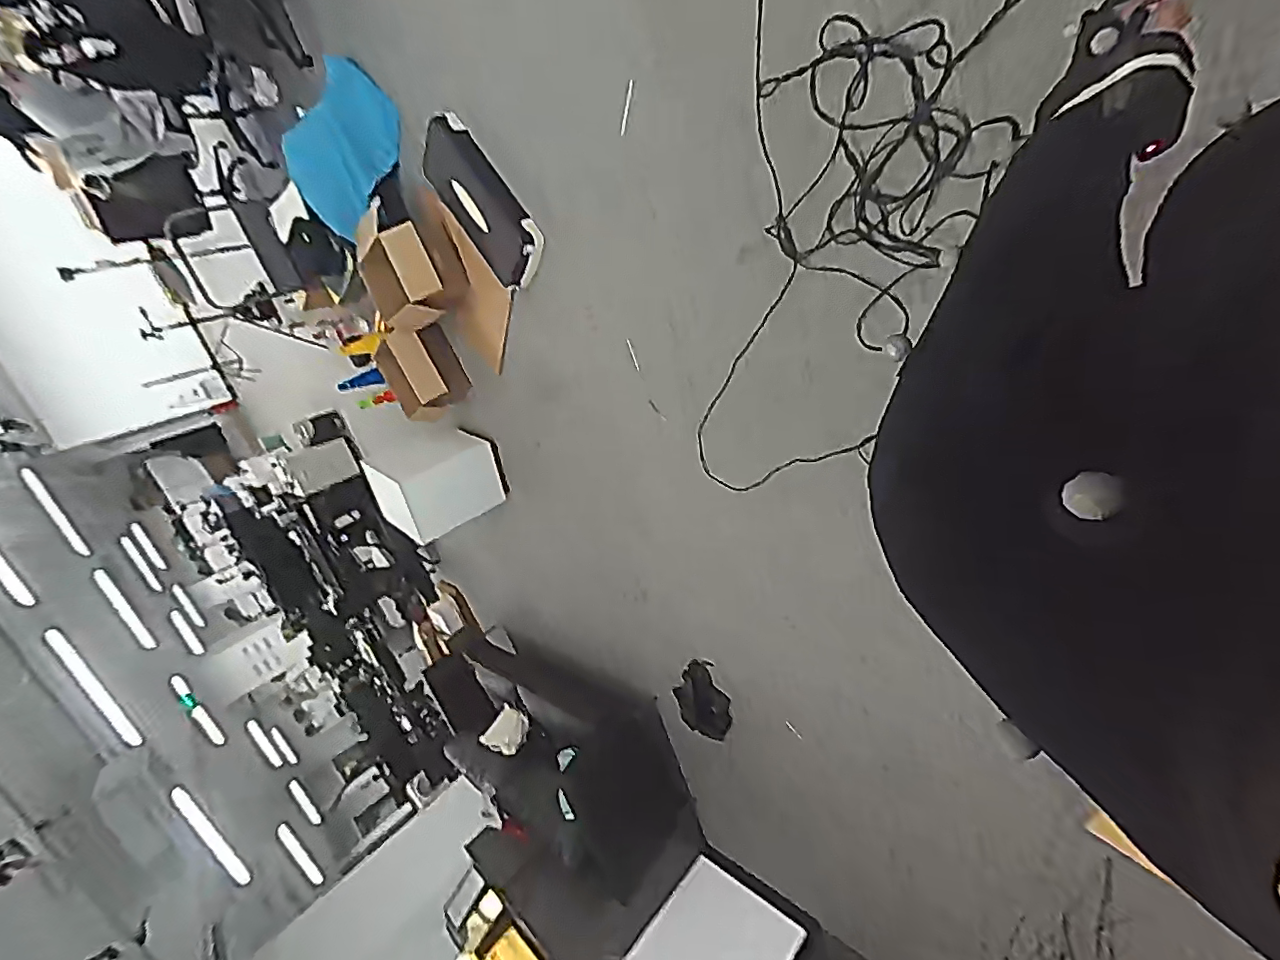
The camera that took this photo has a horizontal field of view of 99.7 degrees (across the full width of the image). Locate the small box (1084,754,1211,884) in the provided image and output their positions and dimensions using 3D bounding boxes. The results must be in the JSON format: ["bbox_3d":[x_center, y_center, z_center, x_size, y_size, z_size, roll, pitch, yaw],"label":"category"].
[{"bbox_3d":[1.233,0.815,1.312,0.168,0.176,0.179,30,135,34],"label":"small box"}]
